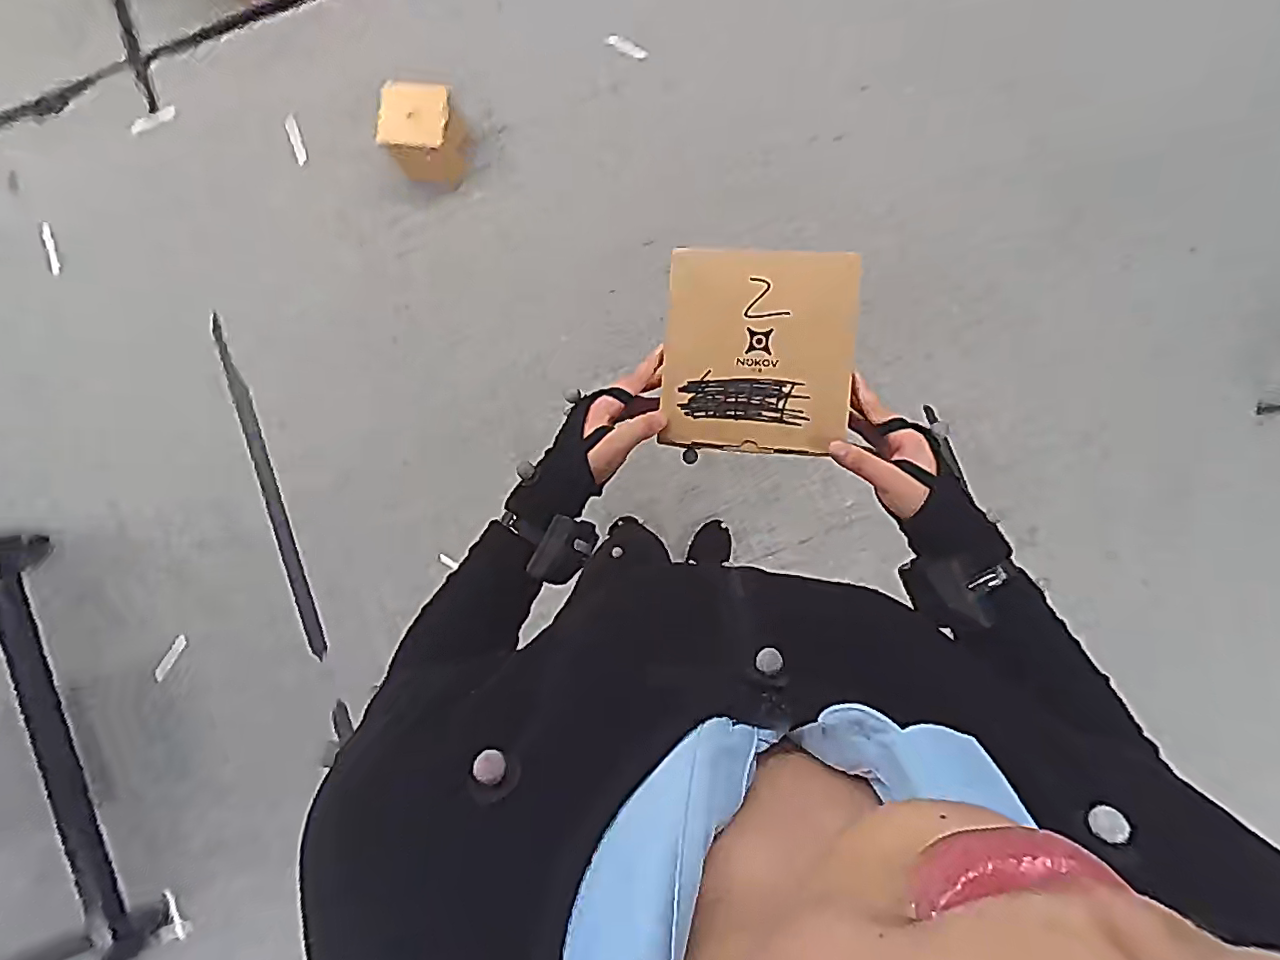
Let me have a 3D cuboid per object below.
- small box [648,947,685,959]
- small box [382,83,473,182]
[{"bbox_3d":[0.064,1.330,1.350,0.168,0.176,0.179,-36,86,-1],"label":"small box"},{"bbox_3d":[-0.587,-0.962,1.508,0.179,0.176,0.168,5,87,2],"label":"small box"}]
